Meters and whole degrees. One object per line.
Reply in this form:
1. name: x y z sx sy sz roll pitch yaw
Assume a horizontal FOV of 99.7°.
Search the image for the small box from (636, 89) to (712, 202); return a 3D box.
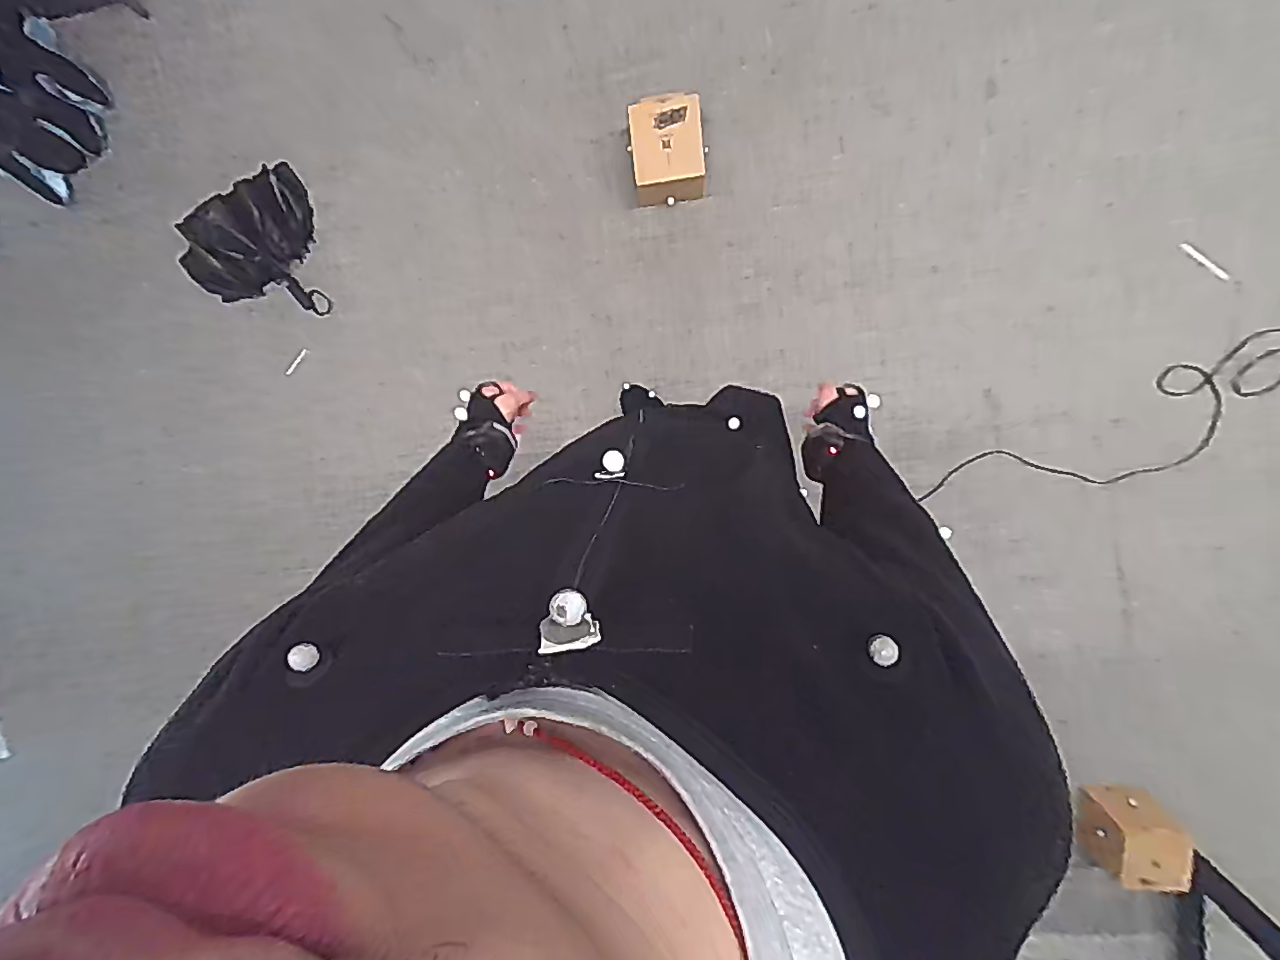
1. small box: 0.086 -0.806 1.319 0.168 0.176 0.179 -4 100 9
